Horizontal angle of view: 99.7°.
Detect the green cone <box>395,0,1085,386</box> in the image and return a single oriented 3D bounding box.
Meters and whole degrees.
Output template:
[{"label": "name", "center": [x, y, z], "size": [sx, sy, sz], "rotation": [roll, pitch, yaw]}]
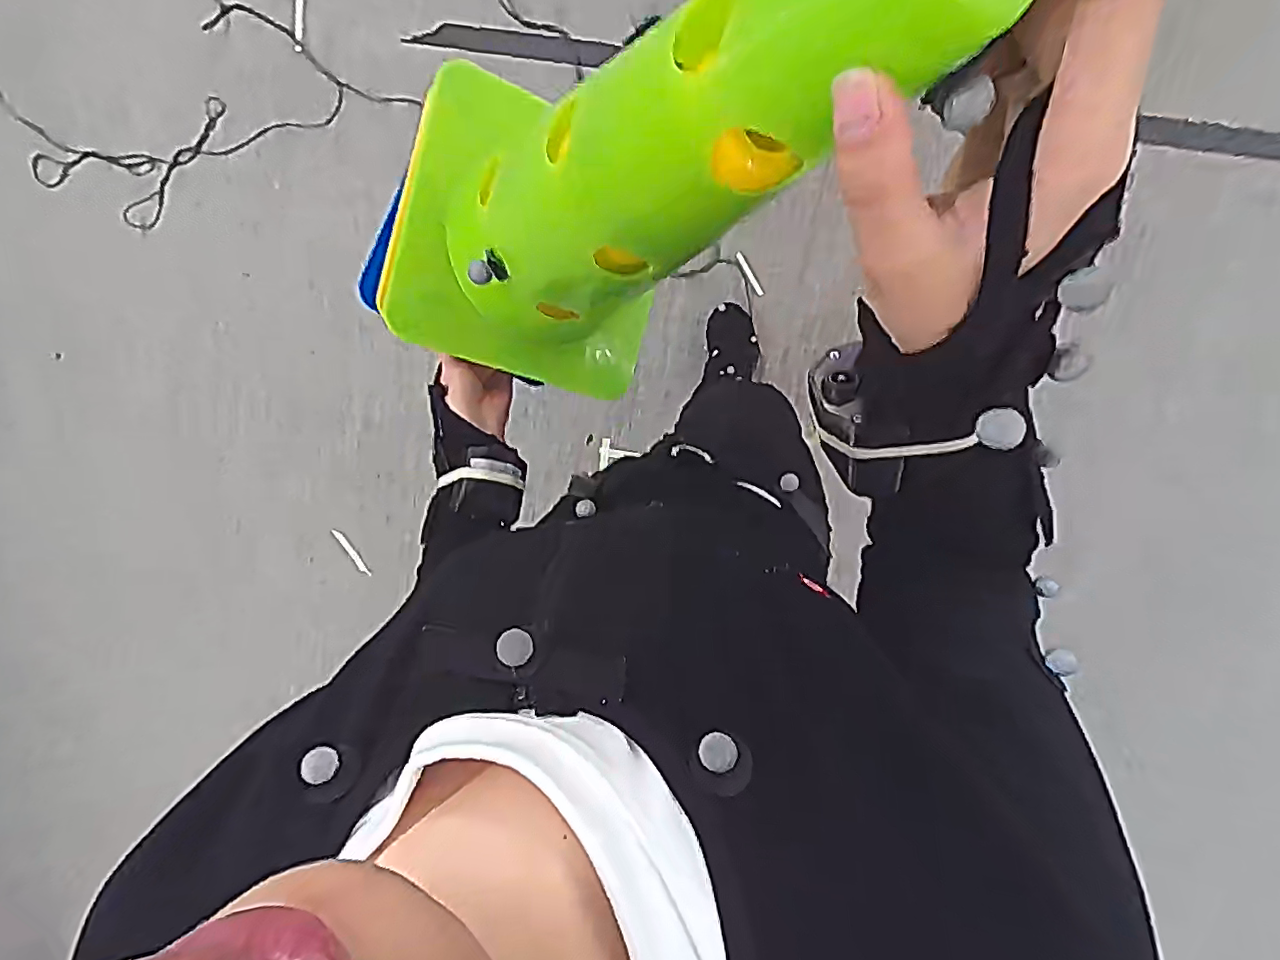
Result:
[{"label": "green cone", "center": [0.007, -0.154, 0.255], "size": [0.200, 0.368, 0.202], "rotation": [13, 96, -26]}]
